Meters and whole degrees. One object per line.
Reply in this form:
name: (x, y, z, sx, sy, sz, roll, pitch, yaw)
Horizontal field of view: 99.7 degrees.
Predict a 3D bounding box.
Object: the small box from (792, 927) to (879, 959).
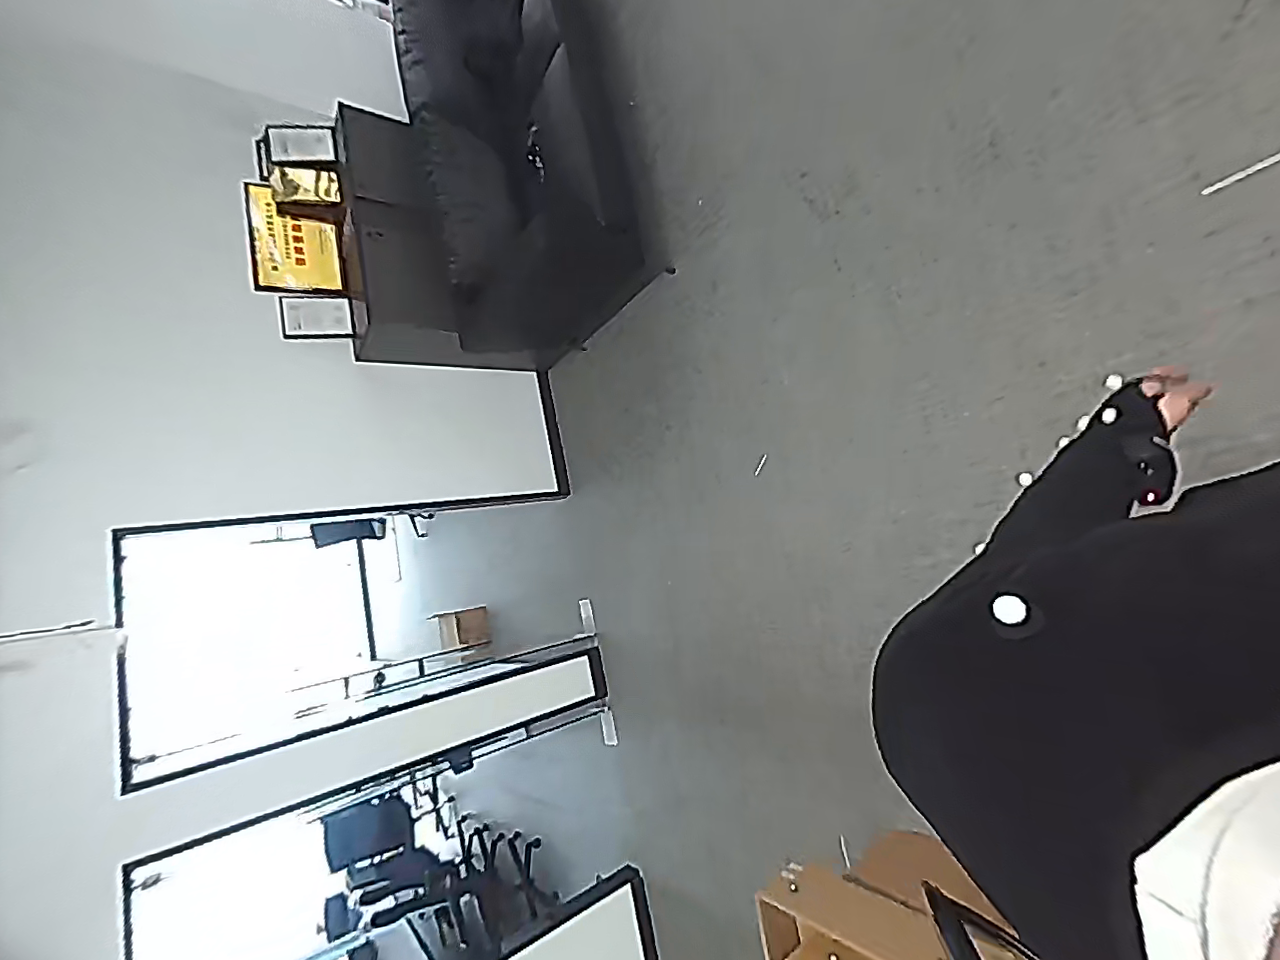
small box: (0.521, 1.310, 1.387, 0.168, 0.176, 0.179, -20, 78, 52)
